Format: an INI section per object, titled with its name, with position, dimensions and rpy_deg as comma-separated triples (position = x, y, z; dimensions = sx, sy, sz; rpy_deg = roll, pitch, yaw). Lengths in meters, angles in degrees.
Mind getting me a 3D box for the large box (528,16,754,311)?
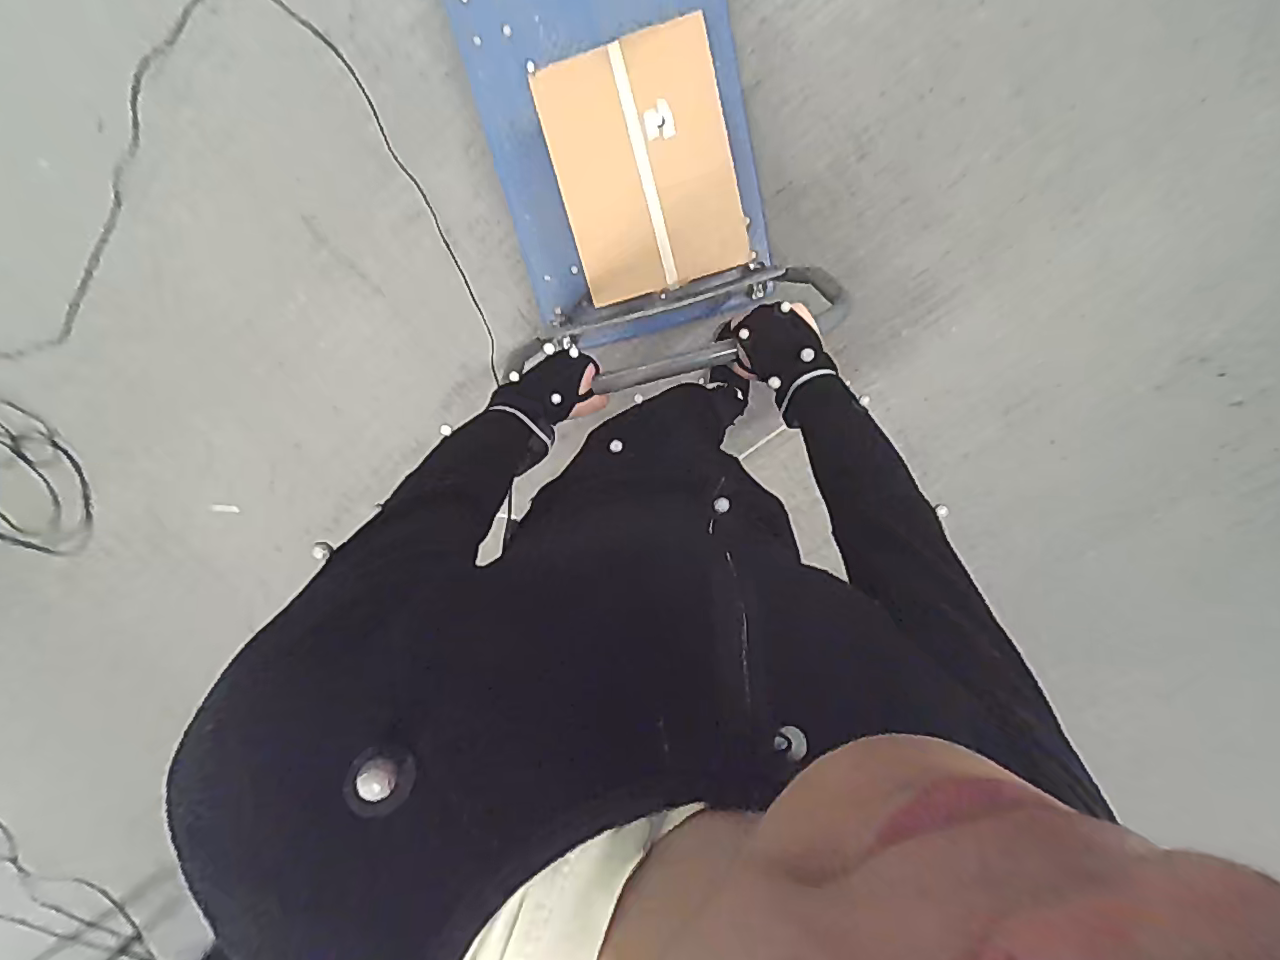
[large box]
position = 0.017, -0.591, 1.104
dimensions = 0.320, 0.320, 0.408
rpy_deg = -15, 106, 6
